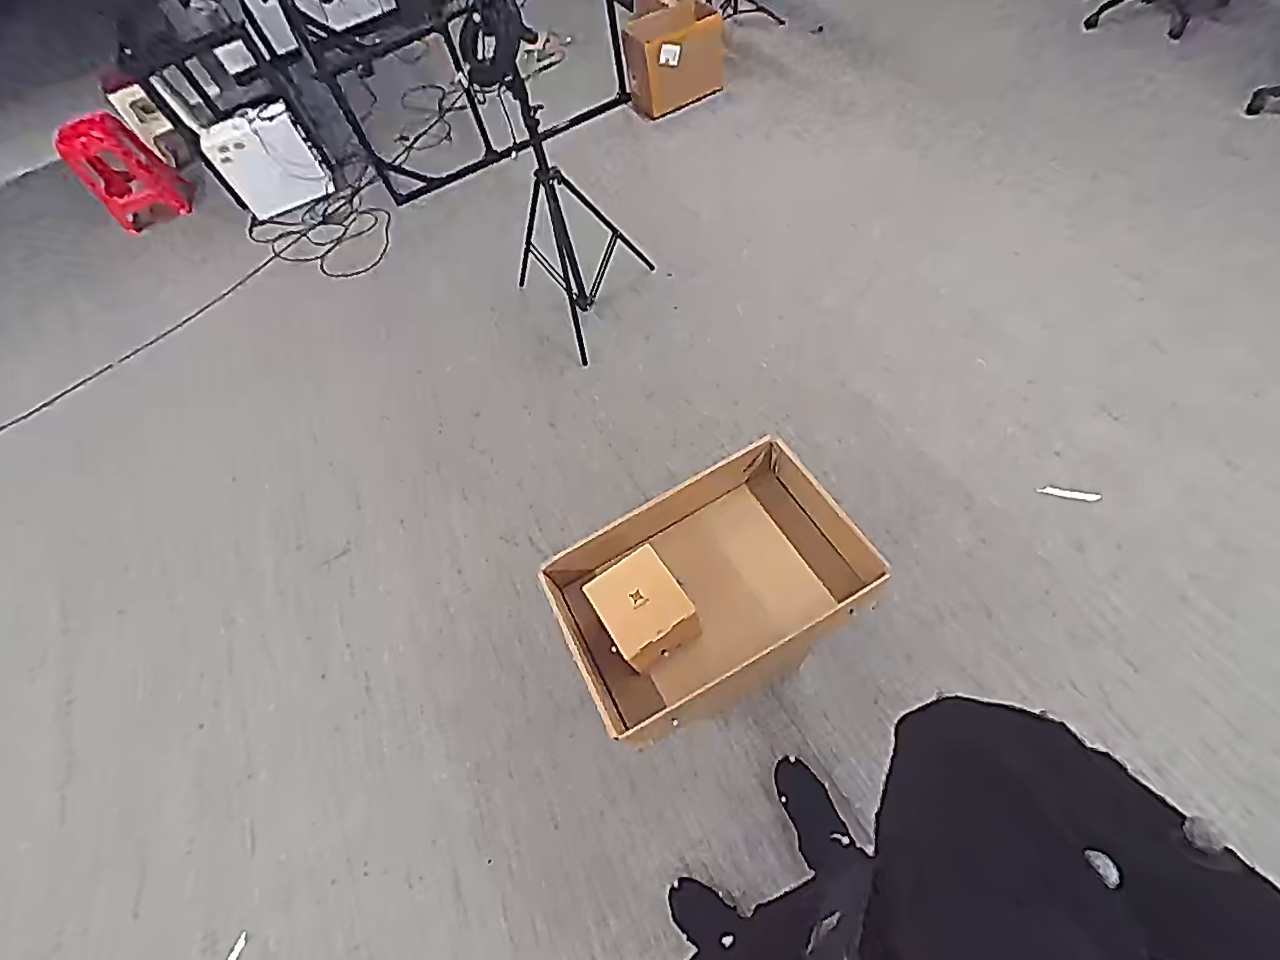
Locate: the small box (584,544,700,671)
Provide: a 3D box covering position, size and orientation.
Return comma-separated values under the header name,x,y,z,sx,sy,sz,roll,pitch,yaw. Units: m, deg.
name,x,y,z,sx,sy,sz,roll,pitch,yaw
small box,0.009,0.270,1.128,0.168,0.176,0.179,-34,61,-8
